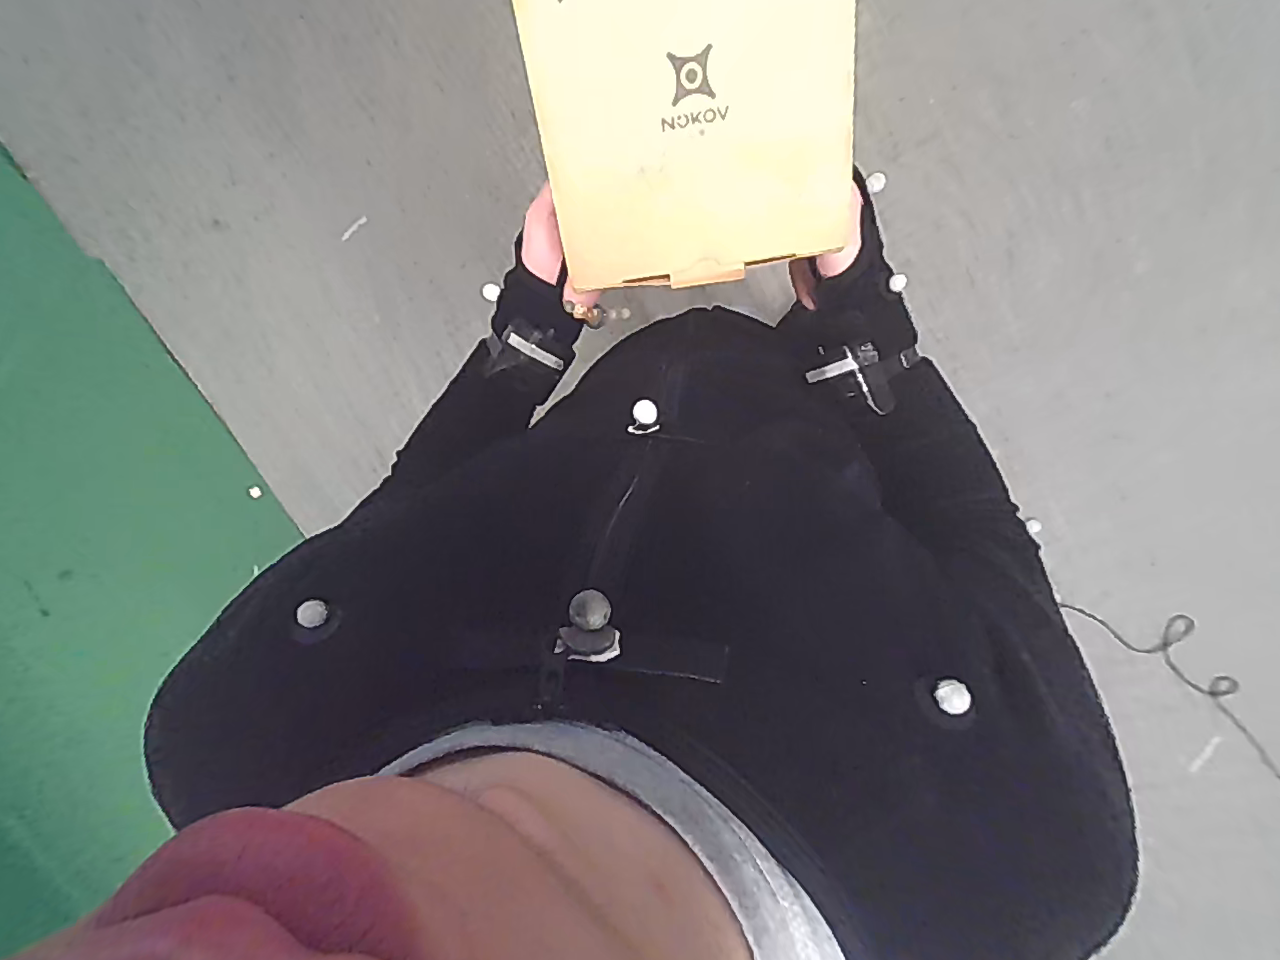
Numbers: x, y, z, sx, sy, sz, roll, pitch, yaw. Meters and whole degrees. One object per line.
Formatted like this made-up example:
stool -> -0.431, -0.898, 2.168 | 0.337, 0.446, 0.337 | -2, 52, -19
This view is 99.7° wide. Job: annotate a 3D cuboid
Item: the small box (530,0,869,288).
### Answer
small box -> 0.036, -0.239, 0.350 | 0.168, 0.176, 0.179 | -7, 119, 5
